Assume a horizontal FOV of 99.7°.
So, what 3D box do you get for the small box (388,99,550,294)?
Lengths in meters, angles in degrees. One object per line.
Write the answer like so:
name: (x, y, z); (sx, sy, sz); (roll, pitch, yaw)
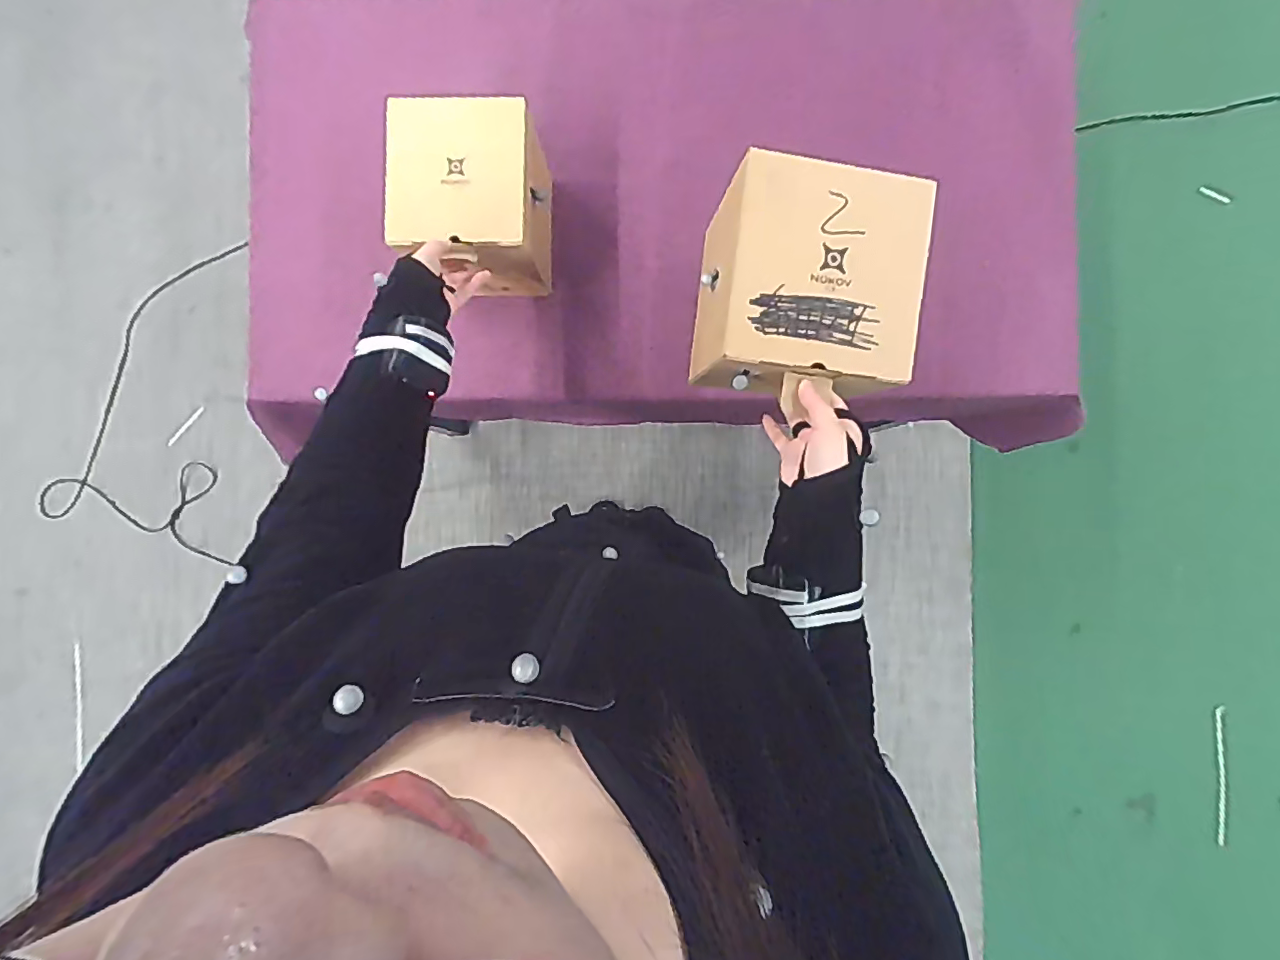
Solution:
small box: (-0.218, -0.369, 0.727); (0.168, 0.176, 0.179); (1, 90, 1)
